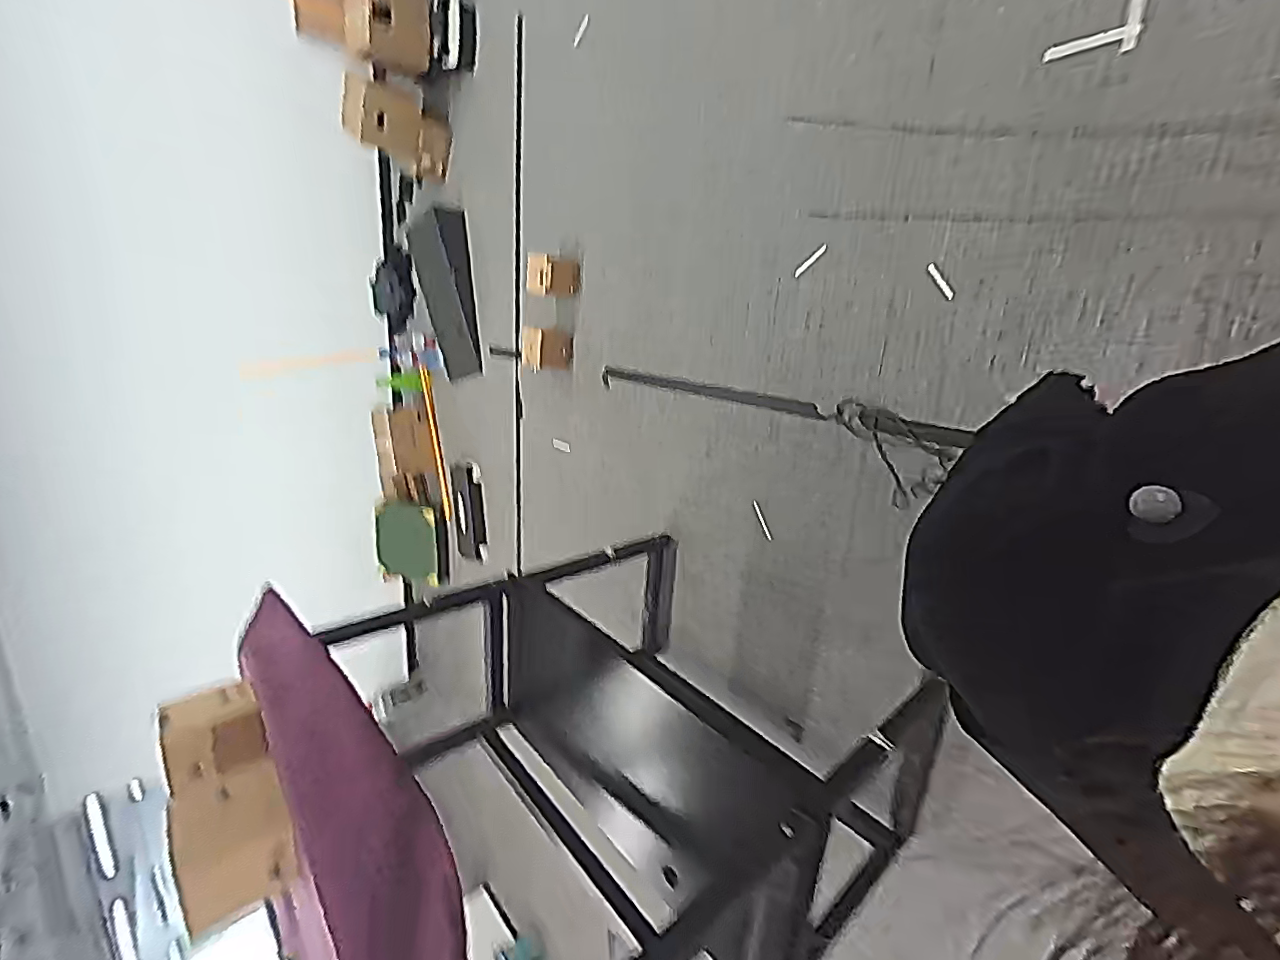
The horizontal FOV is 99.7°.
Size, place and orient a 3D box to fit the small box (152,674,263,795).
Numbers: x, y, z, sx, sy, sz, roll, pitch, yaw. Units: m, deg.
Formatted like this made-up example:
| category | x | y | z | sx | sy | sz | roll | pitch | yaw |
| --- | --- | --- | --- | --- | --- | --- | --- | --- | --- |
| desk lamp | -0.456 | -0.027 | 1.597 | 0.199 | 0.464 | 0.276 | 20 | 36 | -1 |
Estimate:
| category | x | y | z | sx | sy | sz | roll | pitch | yaw |
| --- | --- | --- | --- | --- | --- | --- | --- | --- | --- |
| small box | -0.956 | 0.568 | 1.200 | 0.168 | 0.176 | 0.179 | 14 | 108 | 46 |

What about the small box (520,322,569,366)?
| category | x | y | z | sx | sy | sz | roll | pitch | yaw |
| --- | --- | --- | --- | --- | --- | --- | --- | --- | --- |
| small box | -0.462 | -0.658 | 2.624 | 0.168 | 0.176 | 0.179 | 28 | 116 | 42 |

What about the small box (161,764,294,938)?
| category | x | y | z | sx | sy | sz | roll | pitch | yaw |
| --- | --- | --- | --- | --- | --- | --- | --- | --- | --- |
| small box | -0.753 | 0.659 | 0.993 | 0.179 | 0.176 | 0.168 | 26 | 117 | 43 |

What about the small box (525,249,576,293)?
| category | x | y | z | sx | sy | sz | roll | pitch | yaw |
| --- | --- | --- | --- | --- | --- | --- | --- | --- | --- |
| small box | -0.415 | -0.968 | 2.513 | 0.179 | 0.176 | 0.168 | 29 | 118 | 43 |
